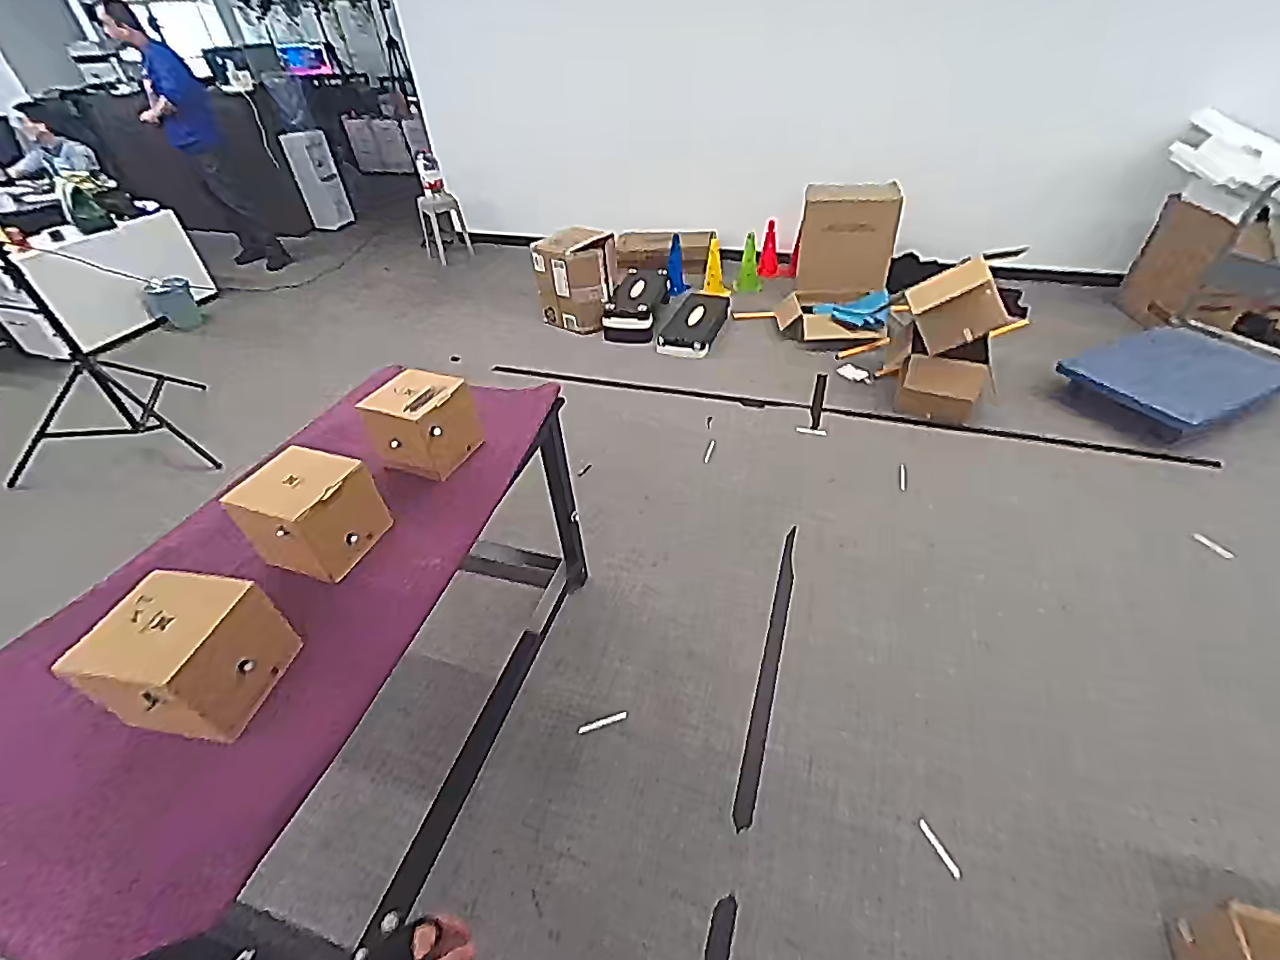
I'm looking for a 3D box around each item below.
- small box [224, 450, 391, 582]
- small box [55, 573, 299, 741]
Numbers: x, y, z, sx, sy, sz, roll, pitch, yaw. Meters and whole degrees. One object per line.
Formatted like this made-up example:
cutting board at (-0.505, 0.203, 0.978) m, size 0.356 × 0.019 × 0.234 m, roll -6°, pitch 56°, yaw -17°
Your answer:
small box at (-0.612, 0.068, 1.018) m, size 0.179 × 0.176 × 0.168 m, roll 11°, pitch 43°, yaw 16°
small box at (-0.654, 0.261, 0.794) m, size 0.179 × 0.176 × 0.168 m, roll 4°, pitch 41°, yaw 9°
